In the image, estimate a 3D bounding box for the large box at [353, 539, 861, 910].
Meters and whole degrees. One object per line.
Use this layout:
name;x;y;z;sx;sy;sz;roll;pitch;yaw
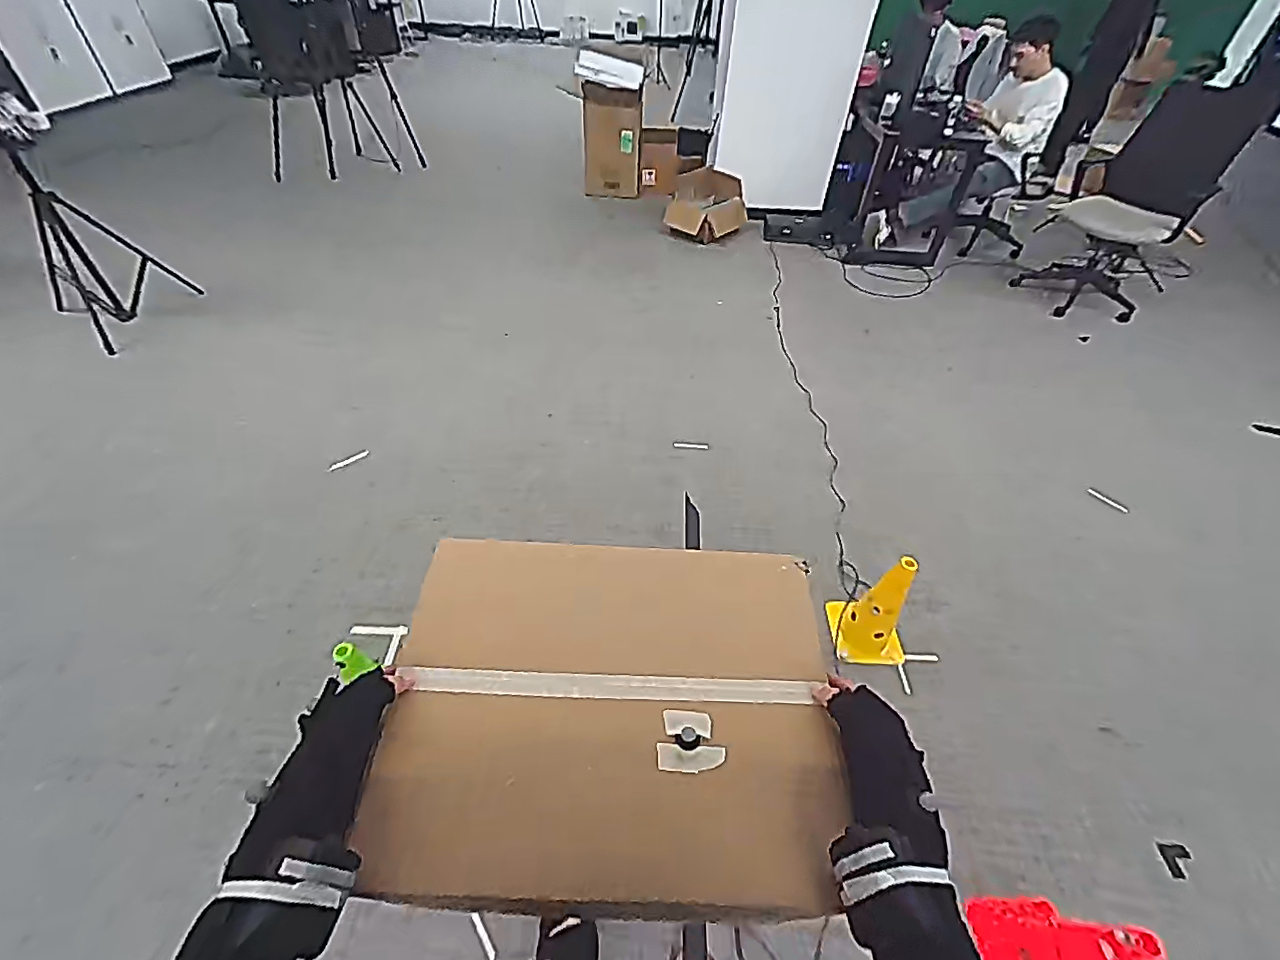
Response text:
large box;-0.030;0.288;0.624;0.408;0.320;0.320;3;49;-1

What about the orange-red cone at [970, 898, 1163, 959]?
orange-red cone;0.813;0.866;0.996;0.198;0.360;0.199;3;44;-2

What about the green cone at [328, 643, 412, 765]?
green cone;-0.647;0.486;1.288;0.202;0.368;0.200;-26;51;-24
